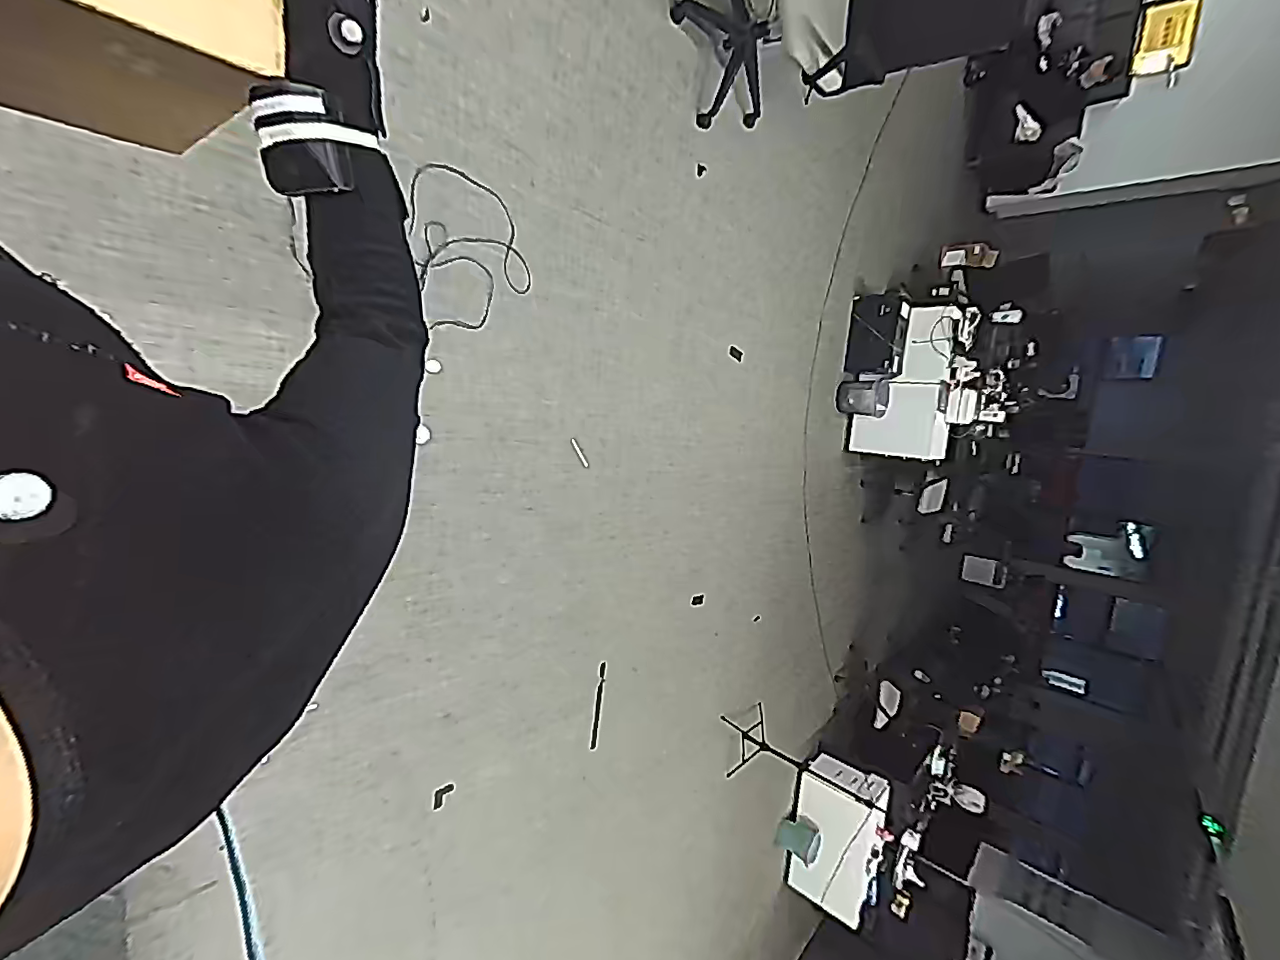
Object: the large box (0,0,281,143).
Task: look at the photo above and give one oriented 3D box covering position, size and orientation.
[{"bbox_3d":[-0.485,-0.444,0.292,0.408,0.320,0.320,-9,109,-50],"label":"large box"}]
